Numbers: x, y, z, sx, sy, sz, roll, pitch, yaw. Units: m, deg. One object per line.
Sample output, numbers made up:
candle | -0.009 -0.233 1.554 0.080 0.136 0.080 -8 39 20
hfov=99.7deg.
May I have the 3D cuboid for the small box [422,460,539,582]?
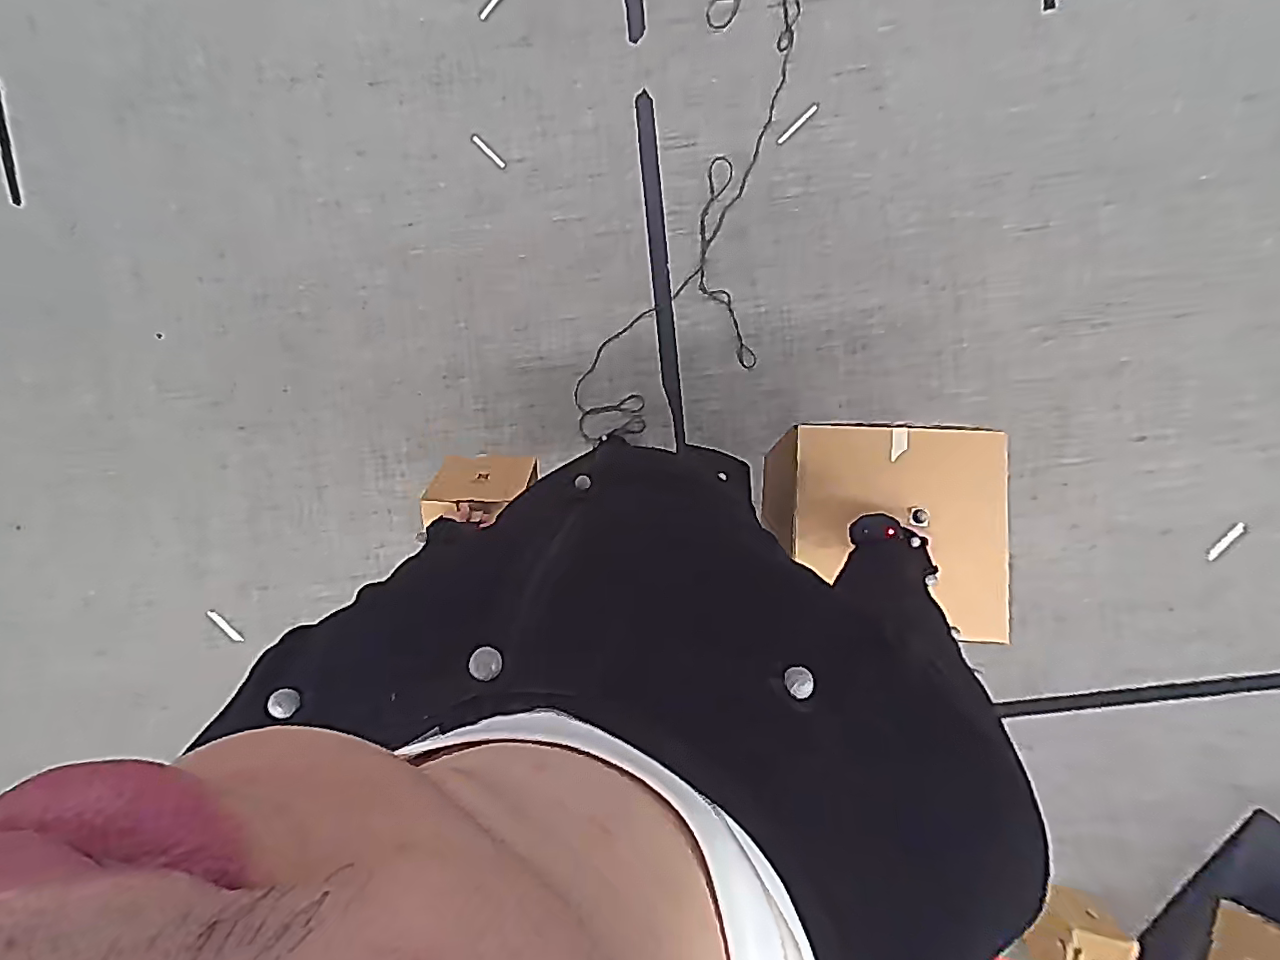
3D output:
small box | -0.282 0.074 0.999 0.168 0.179 0.176 1 115 -2
